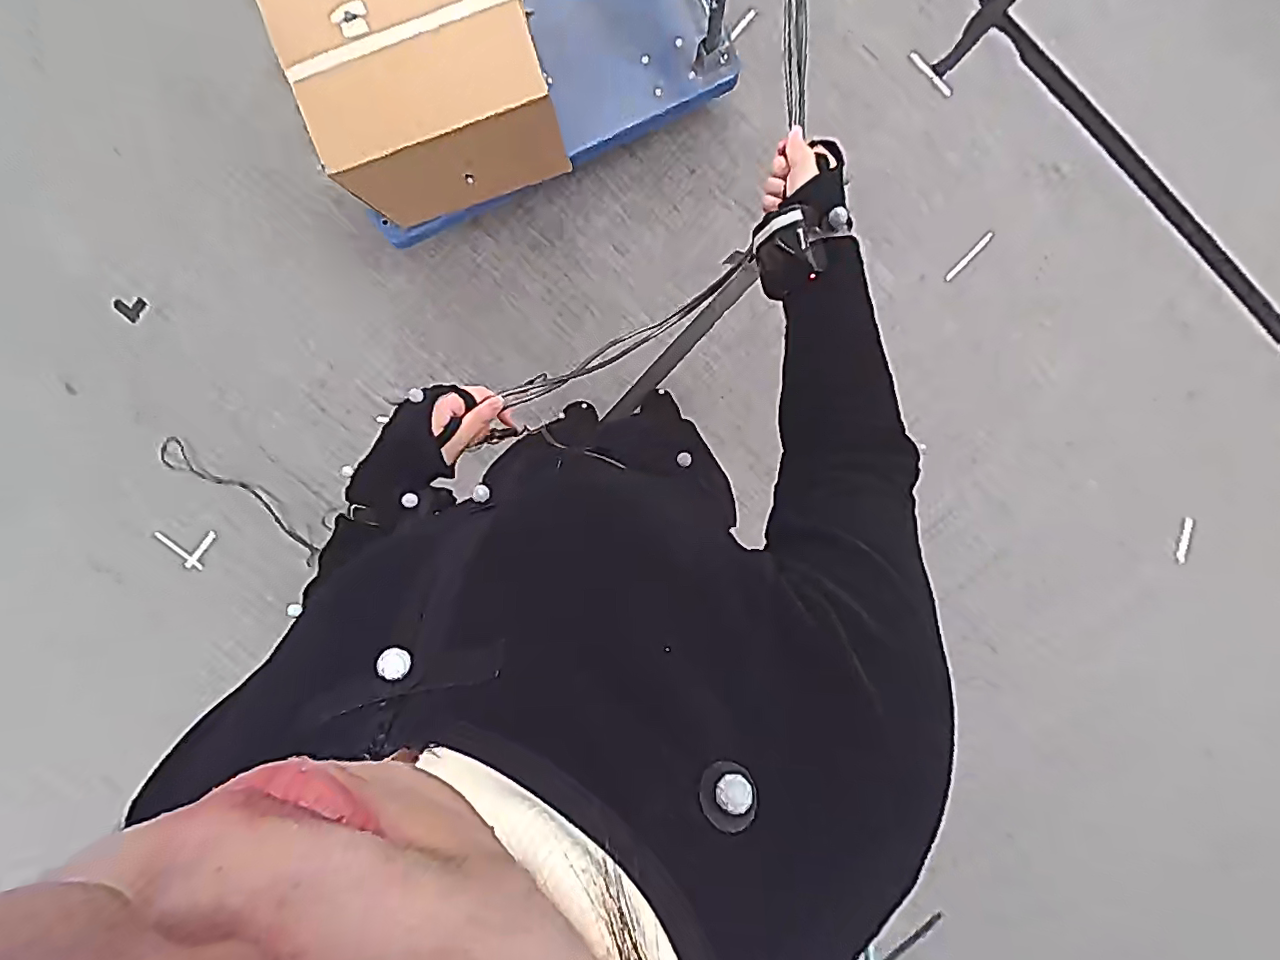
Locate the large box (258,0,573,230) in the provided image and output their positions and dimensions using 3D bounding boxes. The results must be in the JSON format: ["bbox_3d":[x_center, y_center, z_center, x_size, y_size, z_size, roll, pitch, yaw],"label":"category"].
[{"bbox_3d":[-0.380,-0.731,1.025,0.408,0.320,0.320,-18,98,4],"label":"large box"}]
